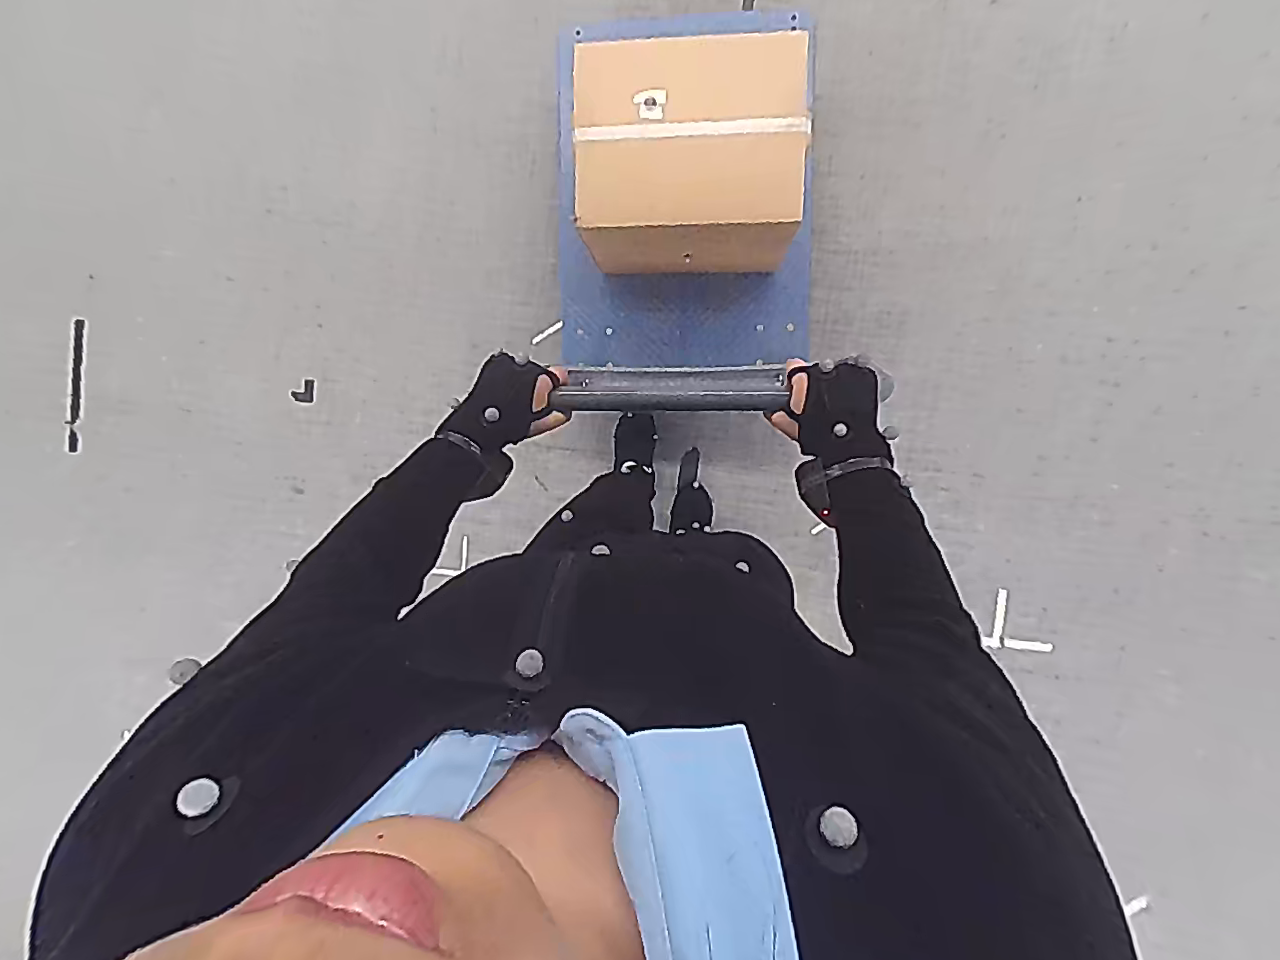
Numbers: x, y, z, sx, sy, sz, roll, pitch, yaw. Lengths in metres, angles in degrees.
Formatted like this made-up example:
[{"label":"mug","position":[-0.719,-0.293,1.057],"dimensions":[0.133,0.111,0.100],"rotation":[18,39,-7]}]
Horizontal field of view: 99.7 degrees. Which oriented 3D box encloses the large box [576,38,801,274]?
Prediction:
[{"label":"large box","position":[0.100,-0.625,1.113],"dimensions":[0.408,0.320,0.320],"rotation":[1,95,6]}]
